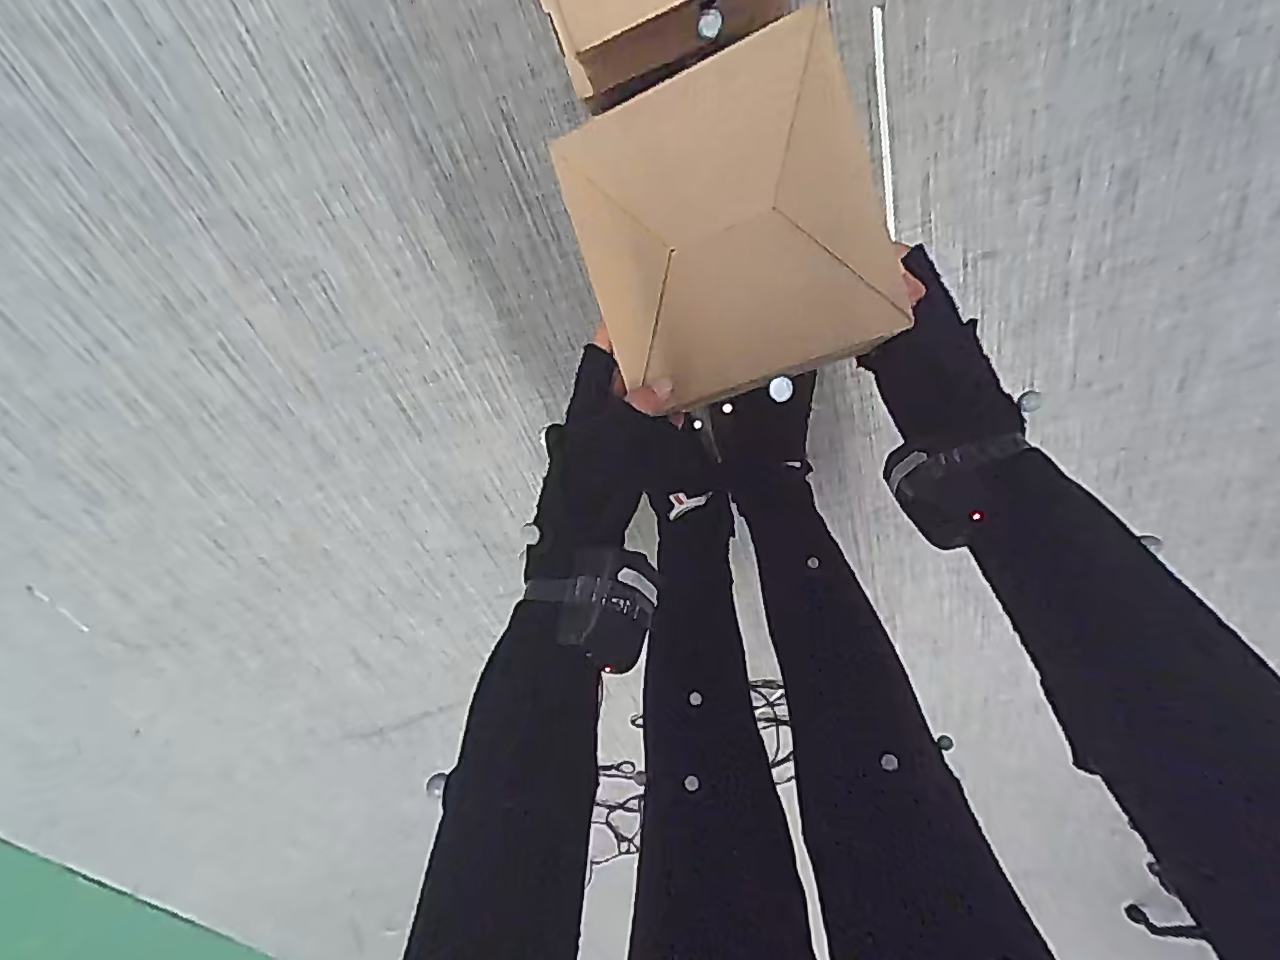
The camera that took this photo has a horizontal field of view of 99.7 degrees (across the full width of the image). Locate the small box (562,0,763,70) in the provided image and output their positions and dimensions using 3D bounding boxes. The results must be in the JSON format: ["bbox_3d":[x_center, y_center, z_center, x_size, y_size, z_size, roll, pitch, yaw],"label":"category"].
[{"bbox_3d":[0.020,-0.366,0.308,0.179,0.176,0.168,-17,122,12],"label":"small box"}]

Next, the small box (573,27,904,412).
[{"bbox_3d":[0.069,-0.155,0.384,0.168,0.176,0.179,-16,94,17],"label":"small box"}]
